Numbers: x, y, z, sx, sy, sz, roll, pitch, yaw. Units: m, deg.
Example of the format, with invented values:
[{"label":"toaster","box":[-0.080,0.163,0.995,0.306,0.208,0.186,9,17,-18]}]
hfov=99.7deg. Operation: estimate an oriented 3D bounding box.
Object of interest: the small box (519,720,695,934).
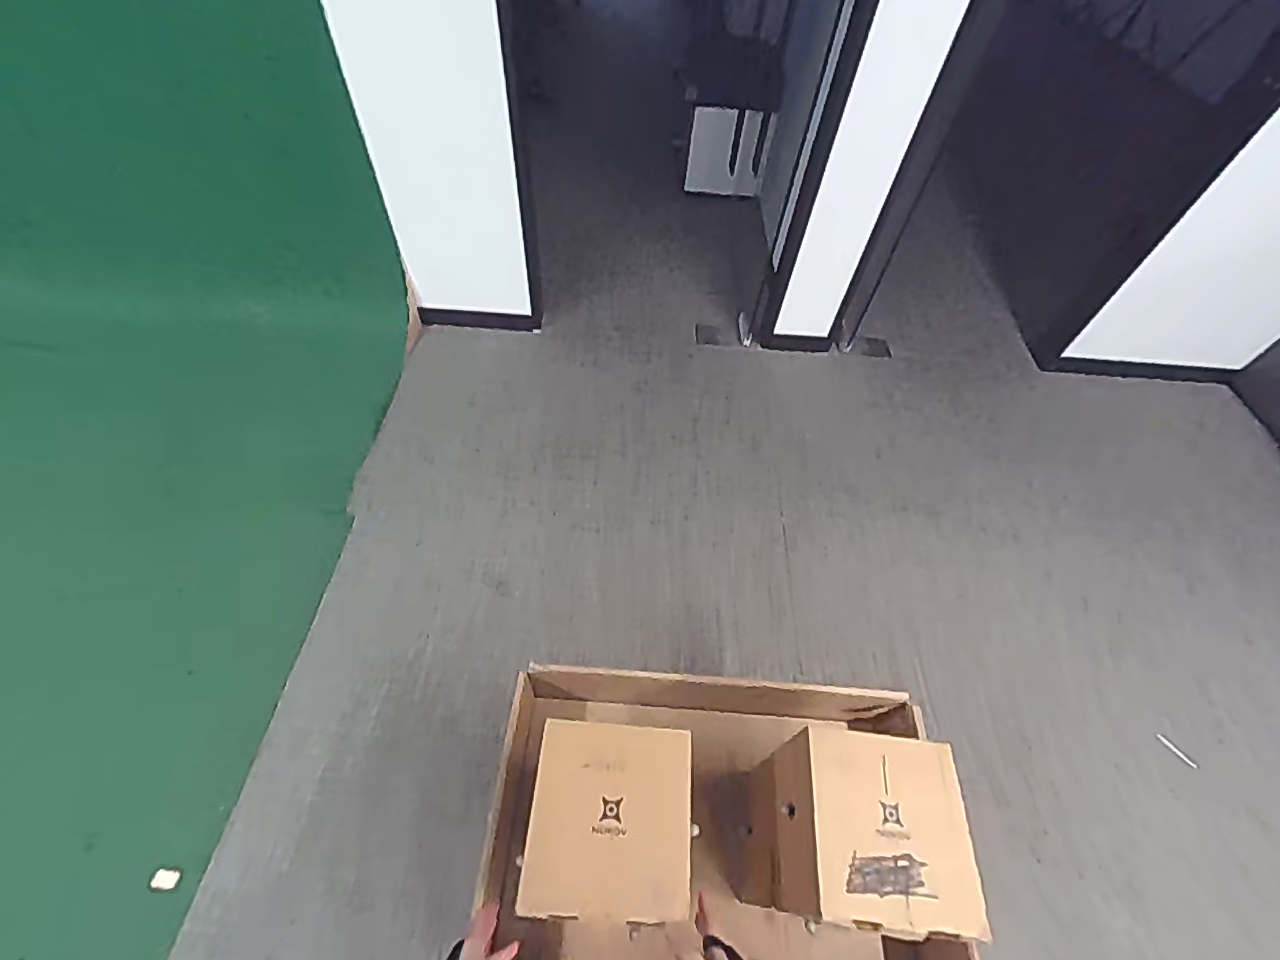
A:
[{"label":"small box","box":[-0.031,0.394,0.619,0.168,0.176,0.179,6,53,-1]}]

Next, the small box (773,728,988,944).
[{"label":"small box","box":[0.258,0.410,0.630,0.168,0.176,0.179,7,52,1]}]
